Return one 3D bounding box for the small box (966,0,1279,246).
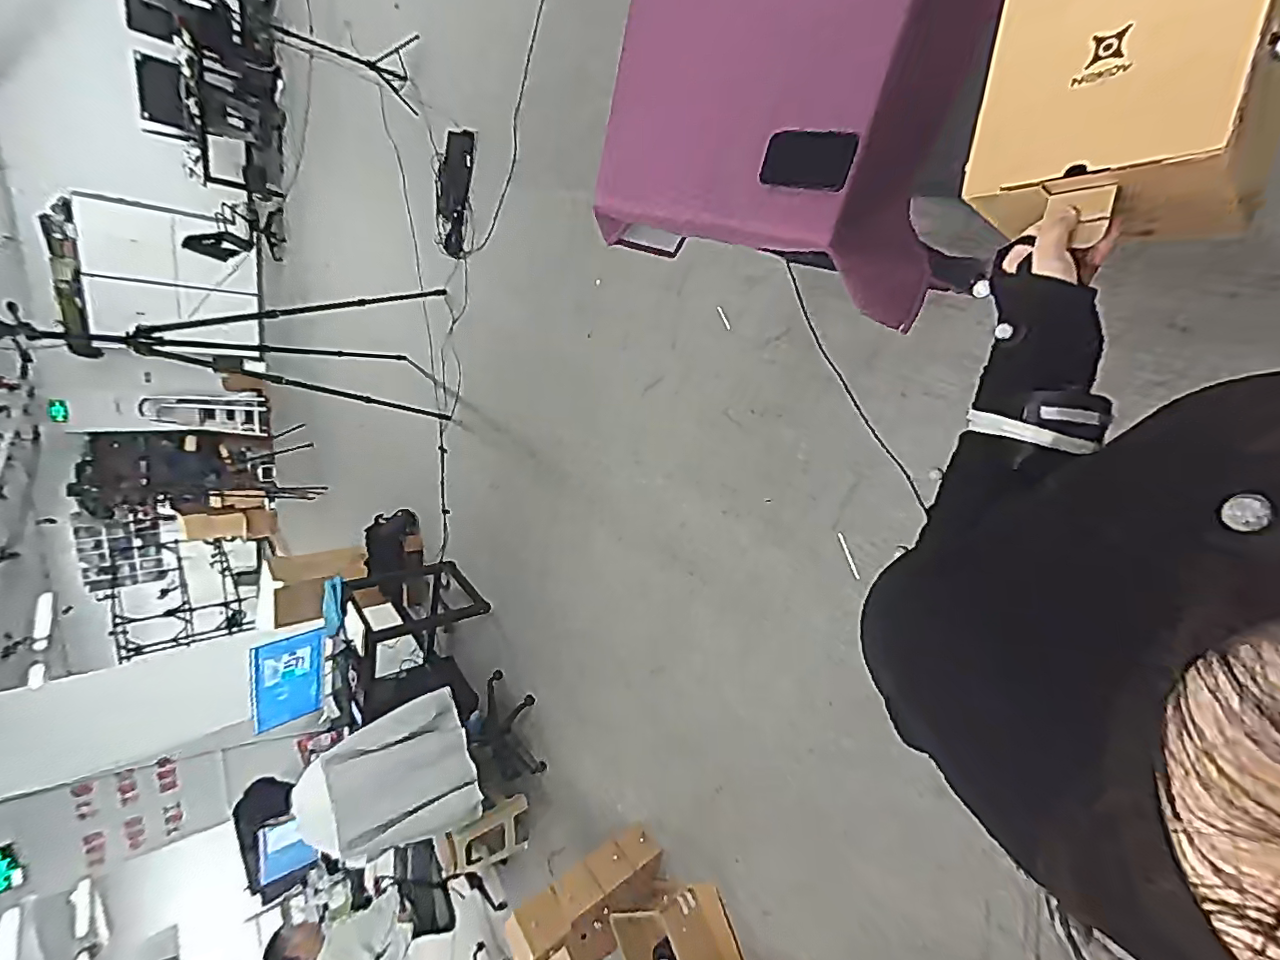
[{"bbox_3d":[0.411,-0.317,0.453,0.168,0.176,0.179,19,104,50],"label":"small box"}]
